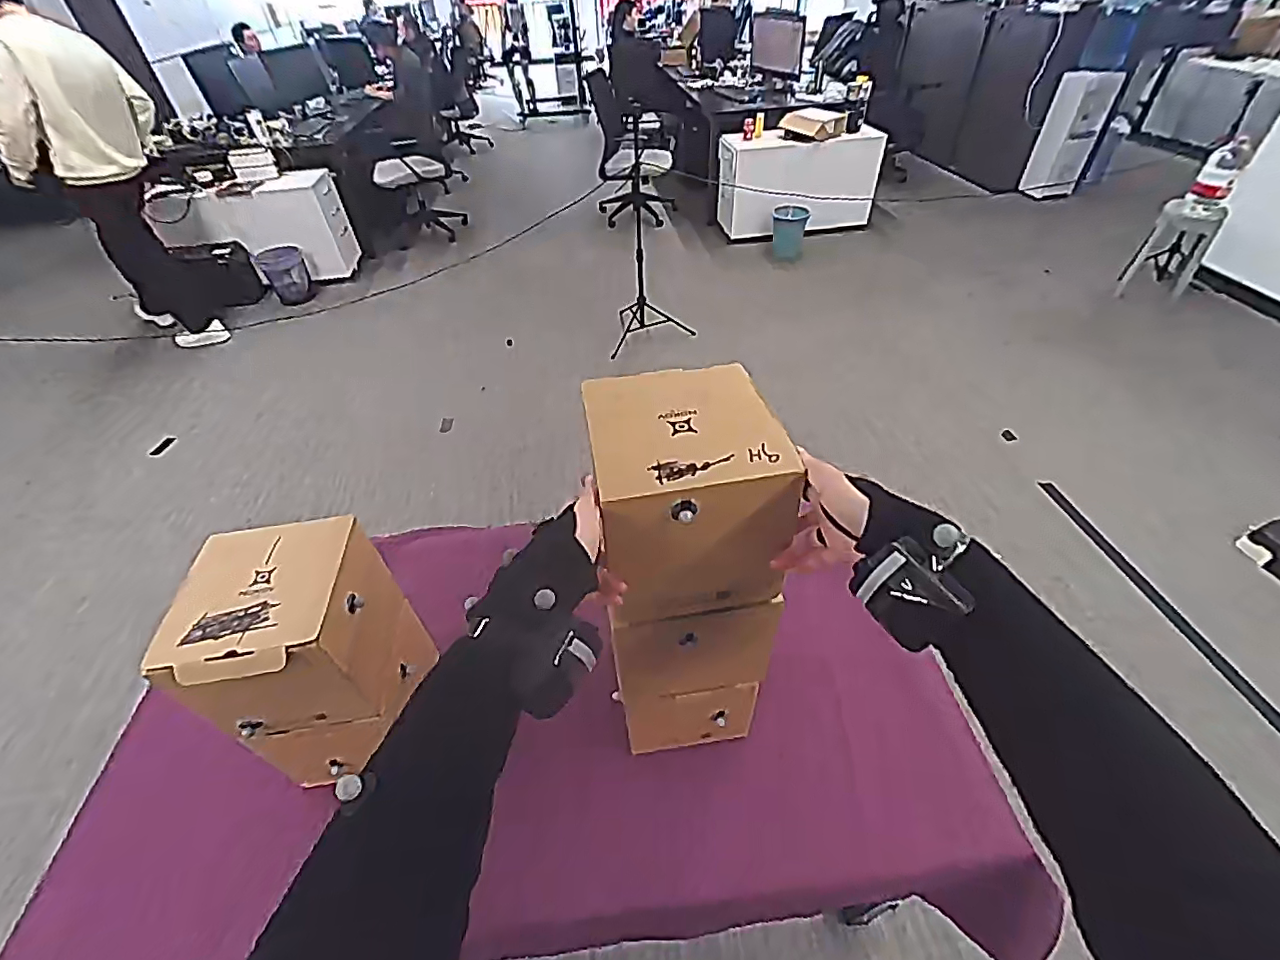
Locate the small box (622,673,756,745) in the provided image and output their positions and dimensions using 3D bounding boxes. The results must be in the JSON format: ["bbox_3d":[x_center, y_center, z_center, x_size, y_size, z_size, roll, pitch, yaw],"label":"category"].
[{"bbox_3d":[0.055,0.251,0.757,0.168,0.176,0.179,-7,44,-4],"label":"small box"}]

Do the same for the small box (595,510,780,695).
[{"bbox_3d":[0.048,0.136,0.641,0.179,0.176,0.168,-7,45,-5],"label":"small box"}]

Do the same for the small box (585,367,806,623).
[{"bbox_3d":[0.040,0.012,0.529,0.168,0.176,0.179,-9,42,-5],"label":"small box"}]

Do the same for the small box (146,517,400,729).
[{"bbox_3d":[-0.401,0.171,0.634,0.168,0.176,0.179,-8,44,-6],"label":"small box"}]

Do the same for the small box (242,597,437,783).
[{"bbox_3d":[-0.393,0.289,0.748,0.168,0.176,0.179,-7,45,-4],"label":"small box"}]
